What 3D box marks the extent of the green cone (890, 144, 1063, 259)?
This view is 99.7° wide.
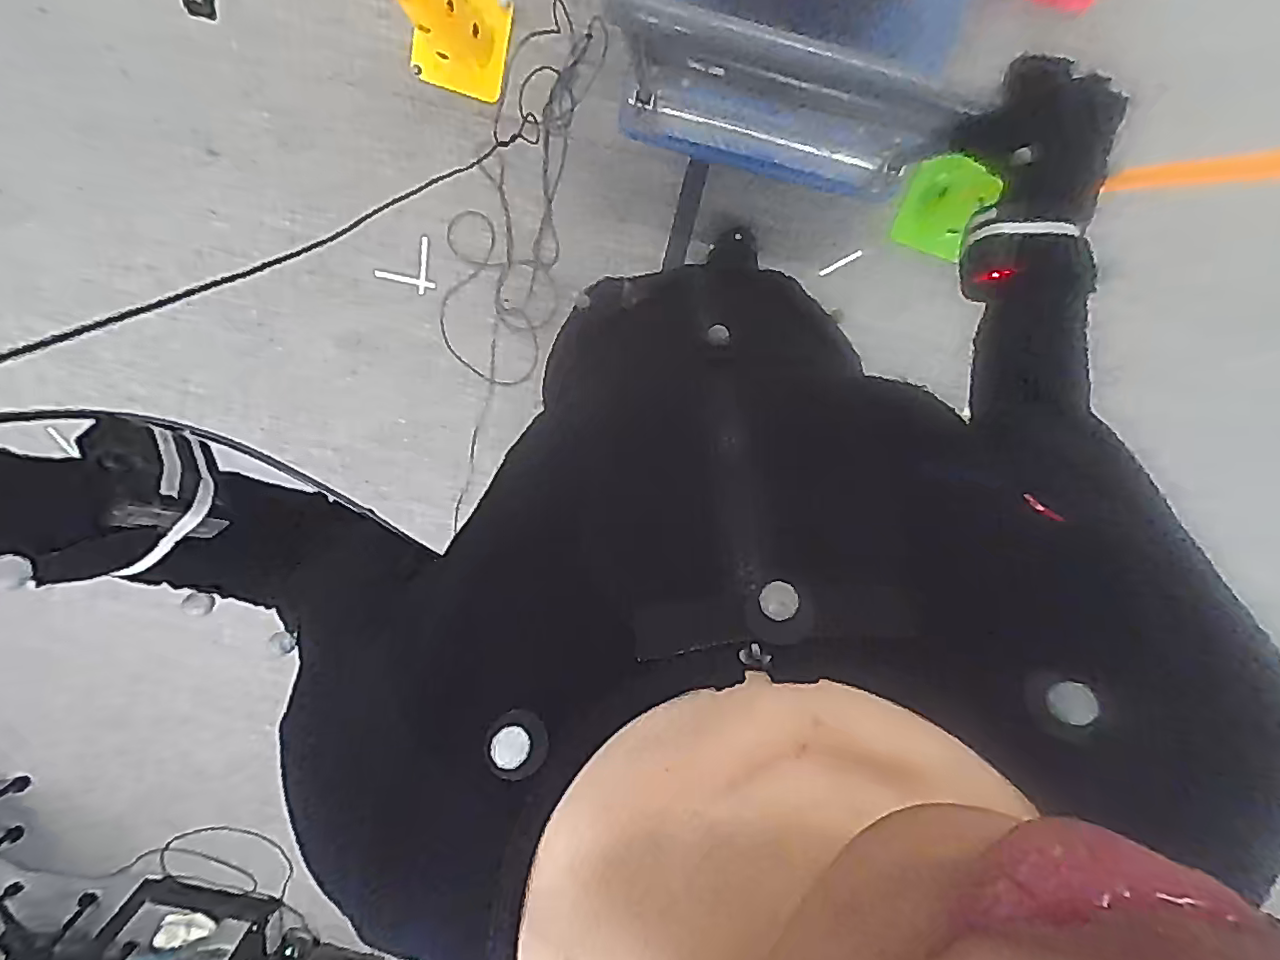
[{"bbox_3d":[0.690,-0.562,1.071,0.202,0.368,0.200,16,112,-5],"label":"green cone"}]
